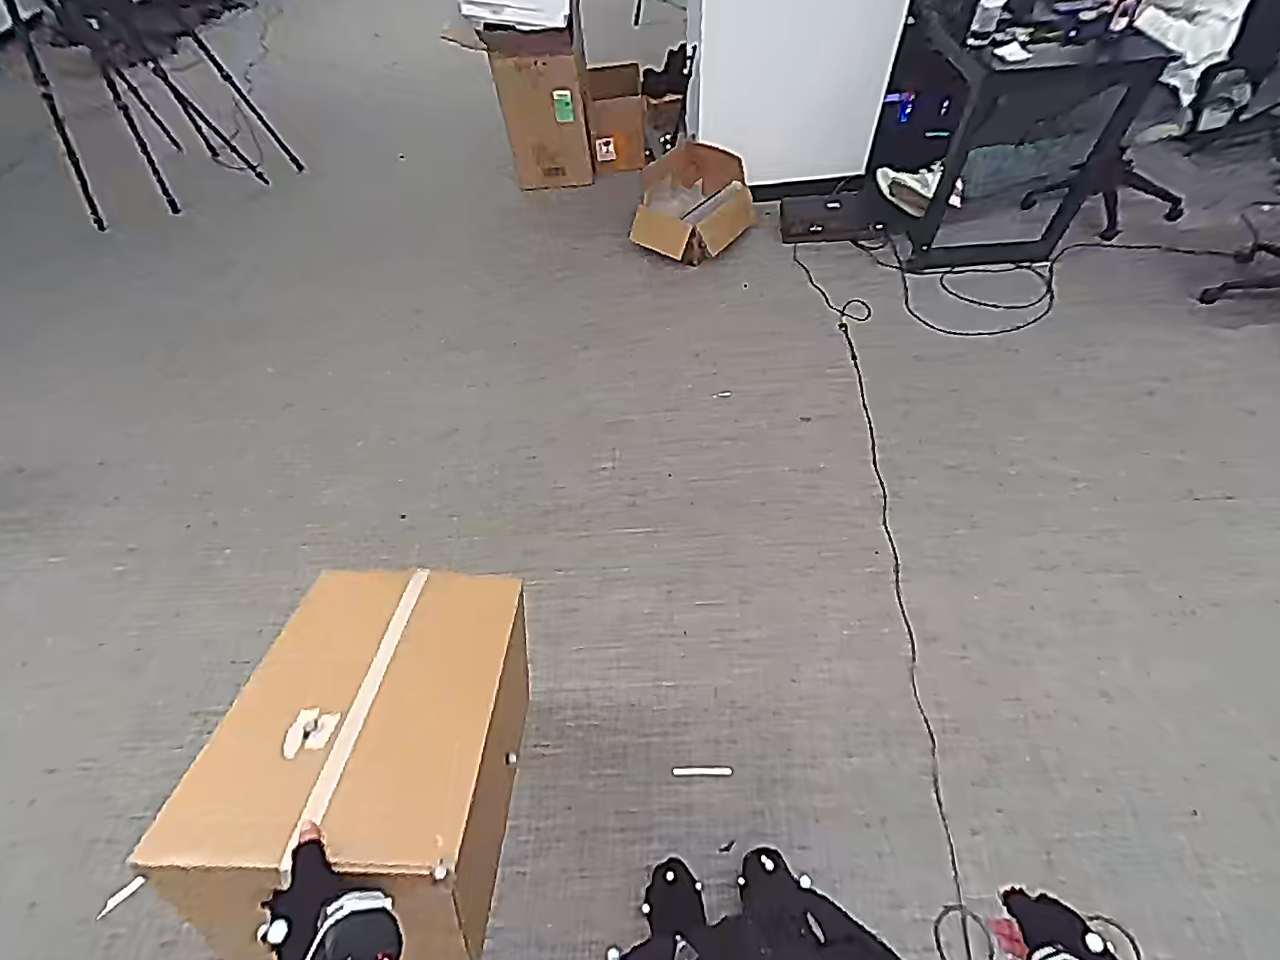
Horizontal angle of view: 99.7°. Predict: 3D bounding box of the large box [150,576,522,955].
[{"bbox_3d":[-0.359,0.397,0.794,0.320,0.320,0.408,3,37,-3],"label":"large box"}]
